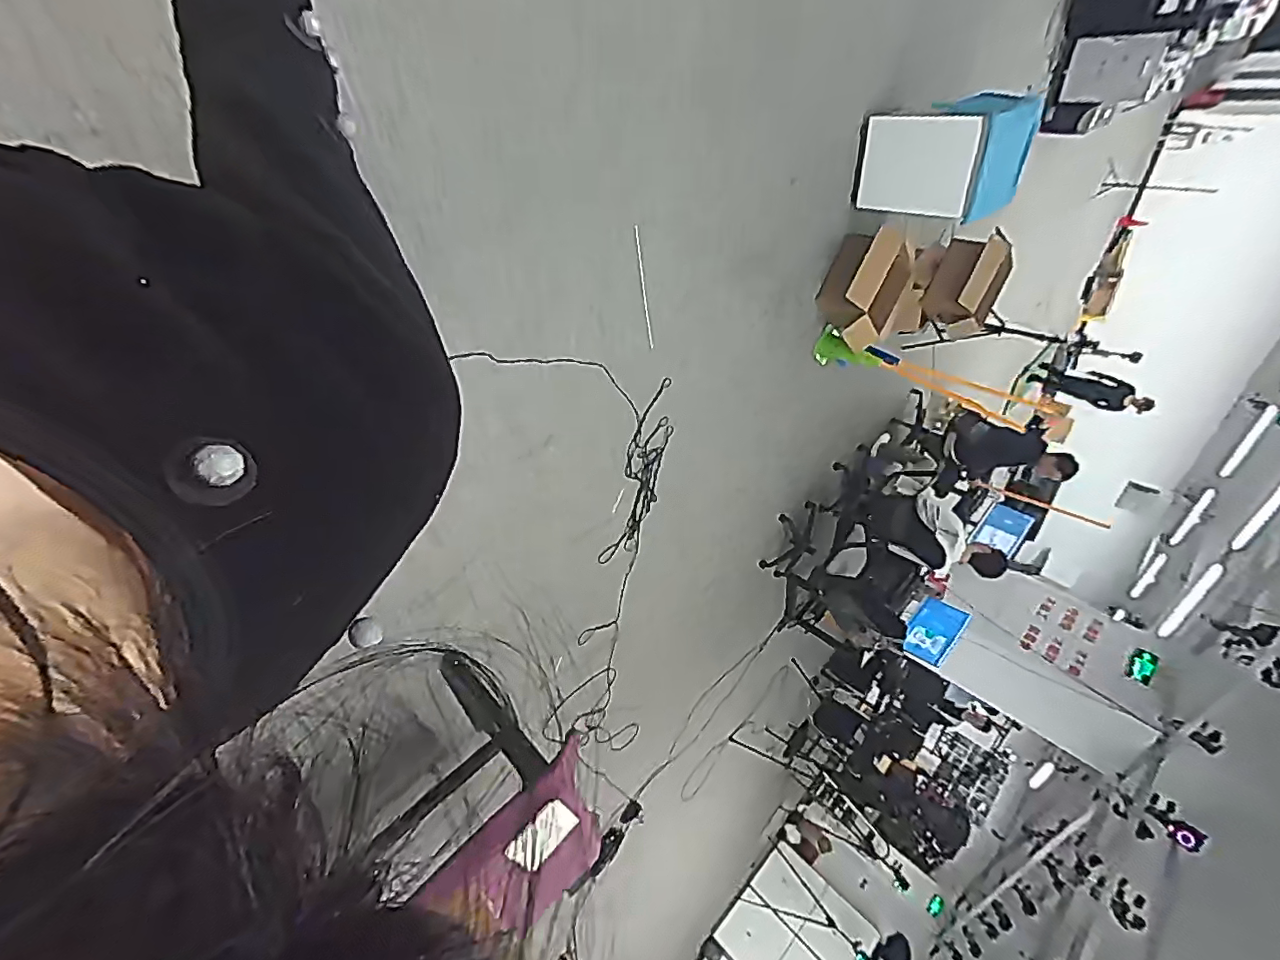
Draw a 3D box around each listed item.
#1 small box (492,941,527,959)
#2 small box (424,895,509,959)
[{"bbox_3d":[-0.338,1.330,1.361,0.179,0.176,0.168,-34,136,-31],"label":"small box"},{"bbox_3d":[-0.456,1.277,1.462,0.168,0.176,0.179,-34,136,-31],"label":"small box"}]
